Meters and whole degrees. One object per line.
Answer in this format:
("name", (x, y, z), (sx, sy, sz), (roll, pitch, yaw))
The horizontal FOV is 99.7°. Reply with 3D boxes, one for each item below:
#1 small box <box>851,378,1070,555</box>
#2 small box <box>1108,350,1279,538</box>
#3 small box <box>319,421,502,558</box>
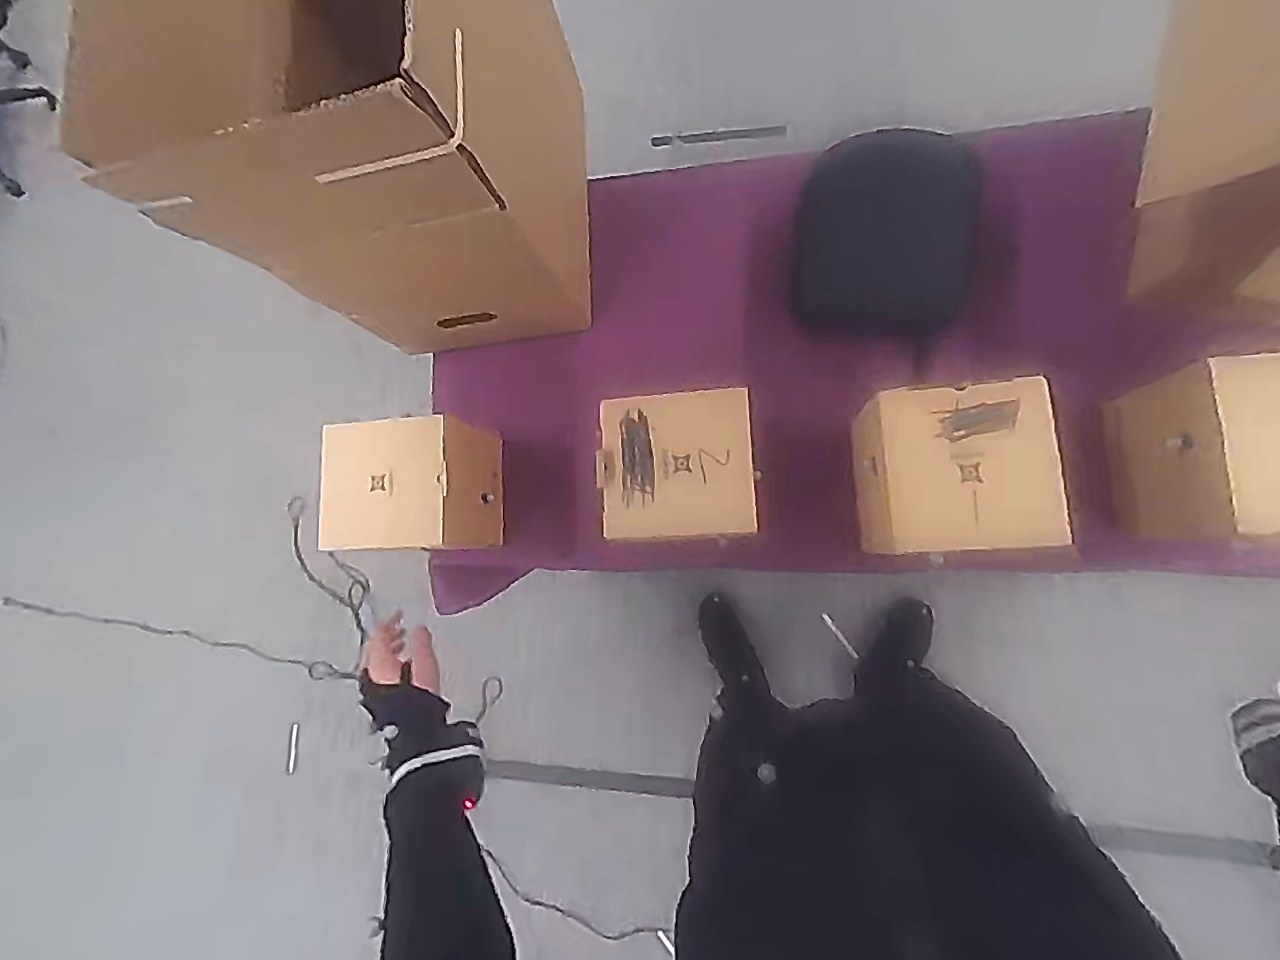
("small box", (0.352, -0.004, 0.632), (0.168, 0.176, 0.179), (-5, 83, 11))
("small box", (0.647, -0.029, 0.577), (0.168, 0.176, 0.179), (-3, 83, 12))
("small box", (-0.310, 0.023, 0.758), (0.179, 0.176, 0.168), (-4, 82, 9))
